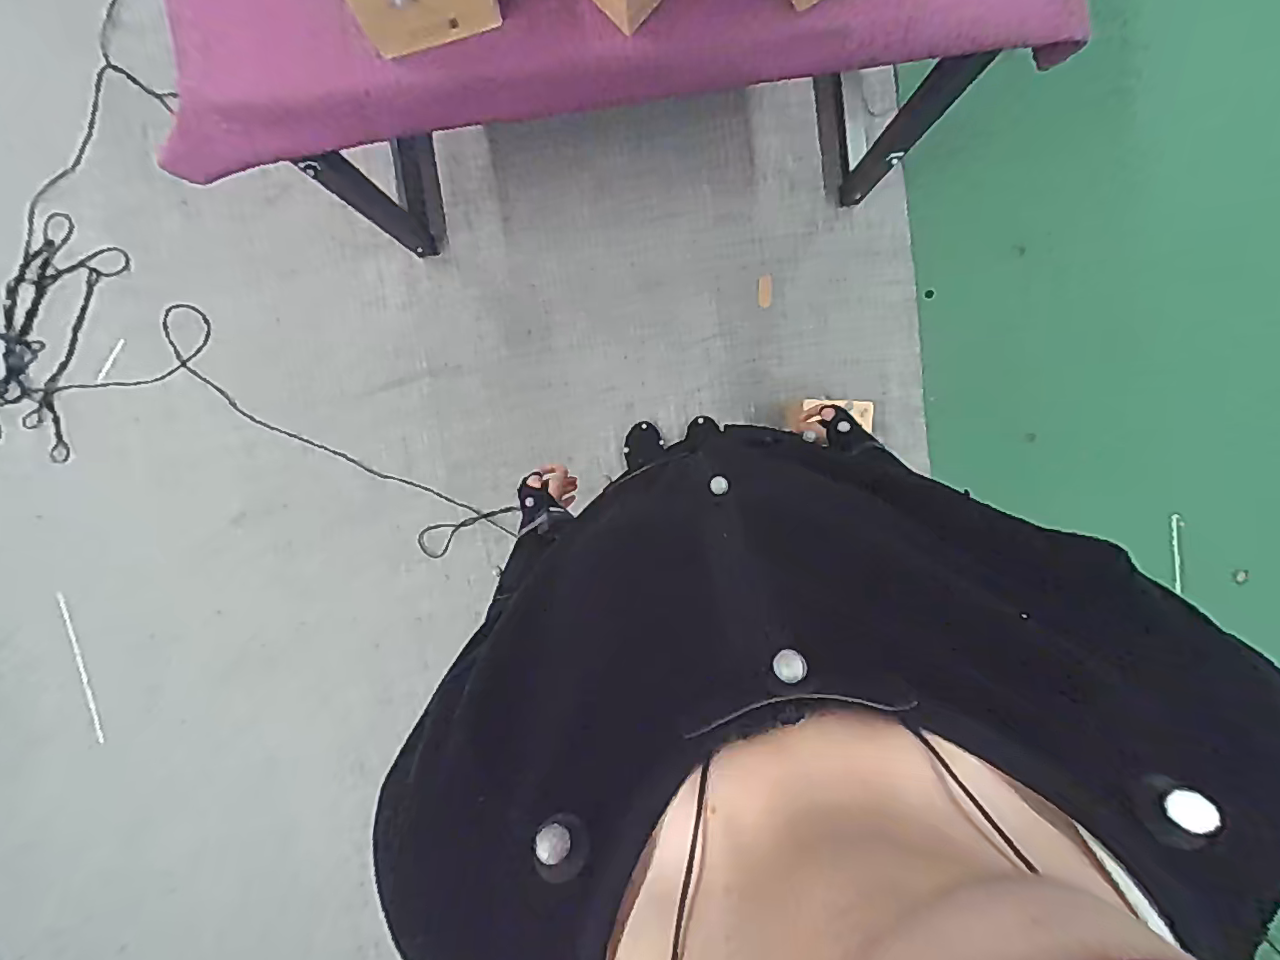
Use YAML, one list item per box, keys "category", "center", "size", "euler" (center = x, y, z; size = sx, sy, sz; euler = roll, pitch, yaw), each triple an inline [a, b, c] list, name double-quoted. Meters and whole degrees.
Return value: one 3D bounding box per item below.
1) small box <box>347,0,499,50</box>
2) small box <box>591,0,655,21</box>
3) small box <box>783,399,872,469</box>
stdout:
- category: "small box"
  center: [-0.283, -0.656, 0.637]
  size: [0.168, 0.176, 0.179]
  euler: [-15, 93, 2]
- category: "small box"
  center: [-0.021, -0.697, 0.628]
  size: [0.179, 0.176, 0.168]
  euler: [44, 93, -3]
- category: "small box"
  center: [0.480, -0.120, 1.409]
  size: [0.179, 0.176, 0.168]
  euler: [3, 96, 1]
